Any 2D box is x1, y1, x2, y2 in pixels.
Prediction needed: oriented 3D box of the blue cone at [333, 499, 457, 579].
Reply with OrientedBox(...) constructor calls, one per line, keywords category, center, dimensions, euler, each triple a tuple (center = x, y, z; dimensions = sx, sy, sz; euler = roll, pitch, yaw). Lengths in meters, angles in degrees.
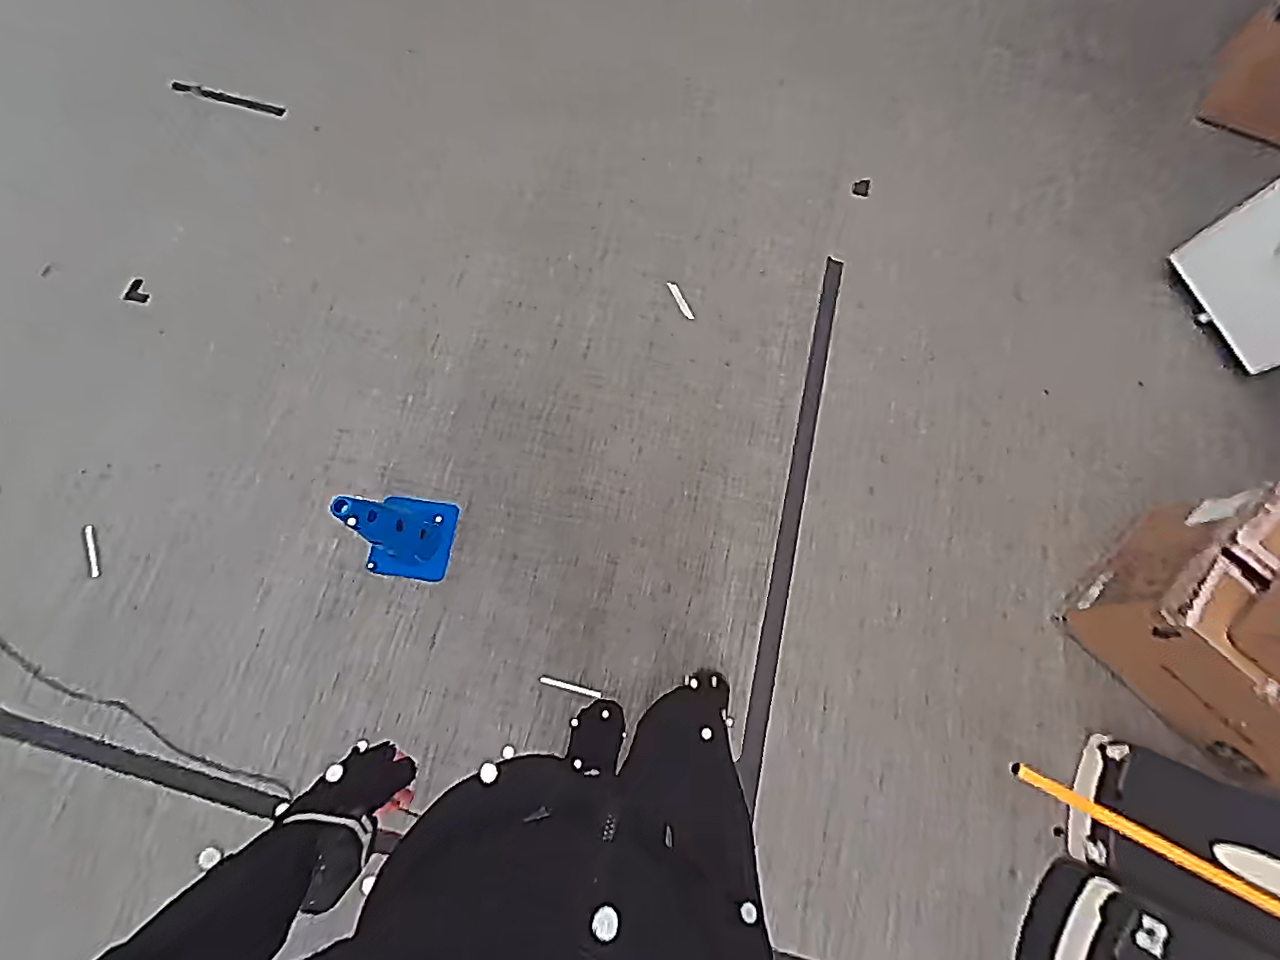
OrientedBox(category="blue cone", center=(-0.568, 0.105, 1.211), dimensions=(0.193, 0.380, 0.192), euler=(9, 75, 2))
